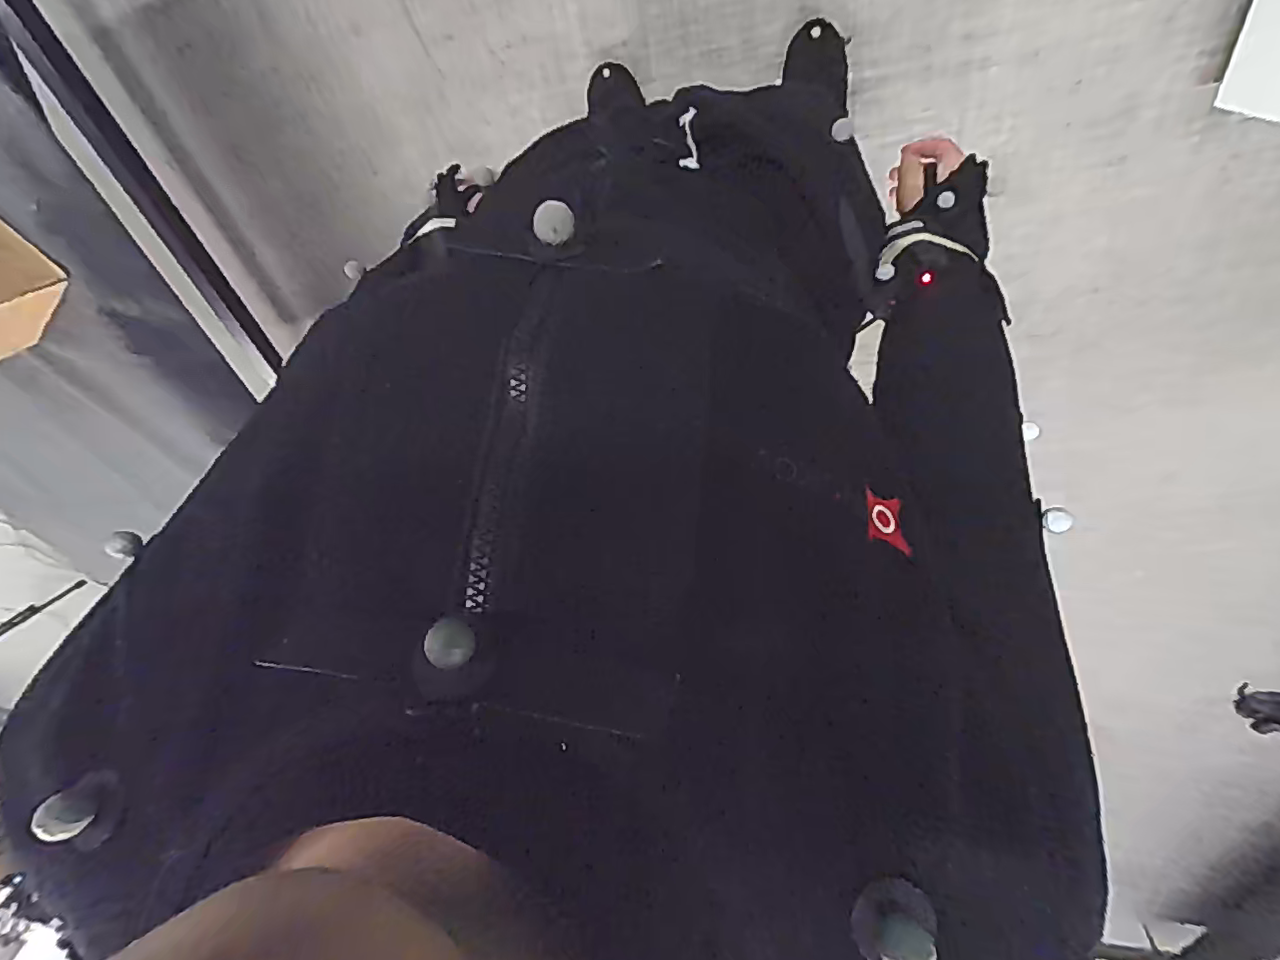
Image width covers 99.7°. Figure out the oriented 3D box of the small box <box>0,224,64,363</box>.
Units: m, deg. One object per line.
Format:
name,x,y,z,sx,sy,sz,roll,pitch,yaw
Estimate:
small box,-0.795,-0.206,0.581,0.179,0.176,0.168,-23,122,30
